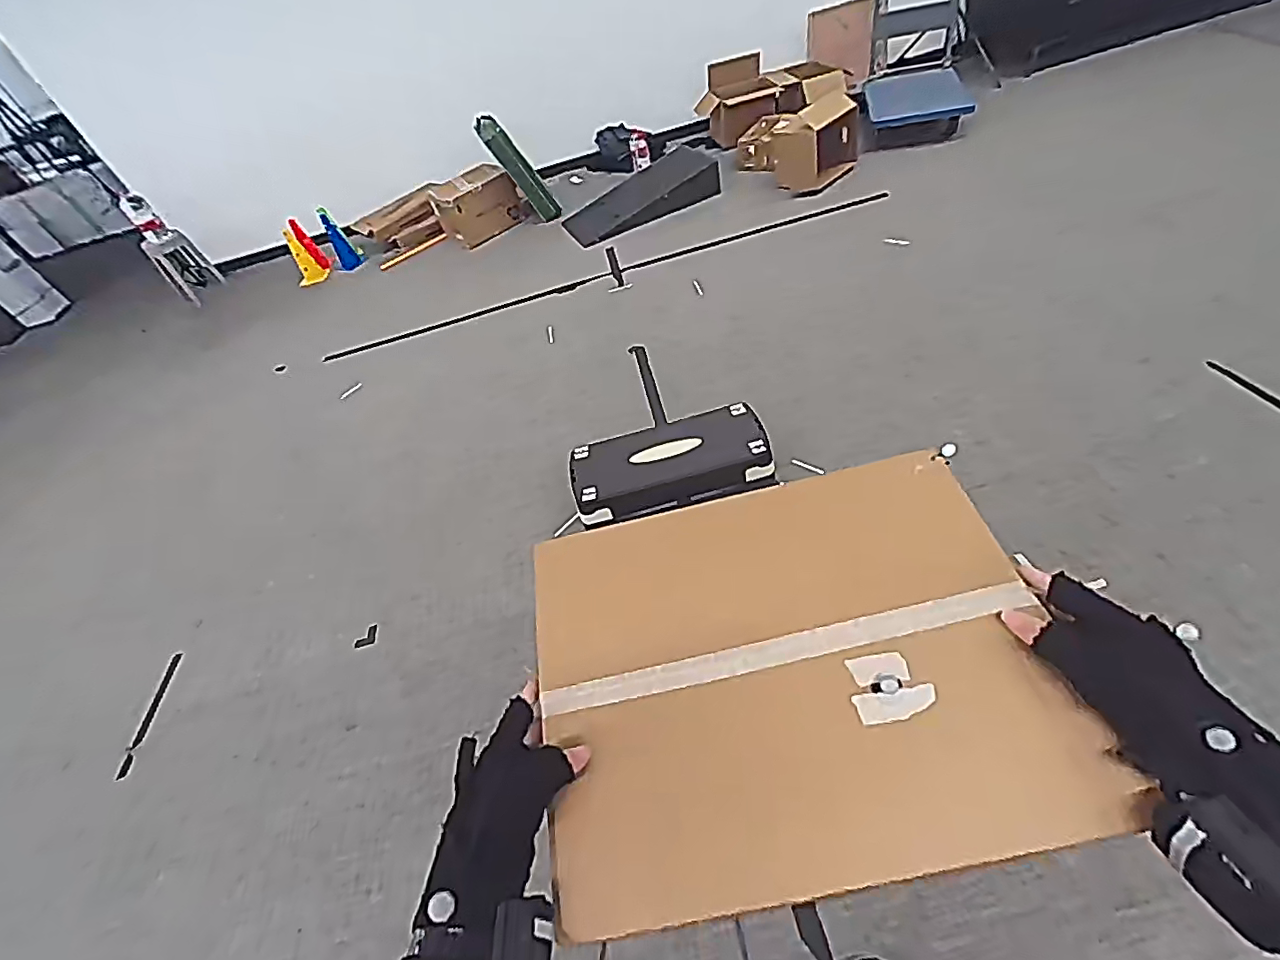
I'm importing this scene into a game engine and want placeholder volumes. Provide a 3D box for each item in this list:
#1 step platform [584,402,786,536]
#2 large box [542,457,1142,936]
[{"bbox_3d":[0.148,-0.042,1.878,0.684,0.204,0.286,-16,47,1],"label":"step platform"},{"bbox_3d":[0.143,0.230,0.571,0.408,0.320,0.320,-14,54,3],"label":"large box"}]
